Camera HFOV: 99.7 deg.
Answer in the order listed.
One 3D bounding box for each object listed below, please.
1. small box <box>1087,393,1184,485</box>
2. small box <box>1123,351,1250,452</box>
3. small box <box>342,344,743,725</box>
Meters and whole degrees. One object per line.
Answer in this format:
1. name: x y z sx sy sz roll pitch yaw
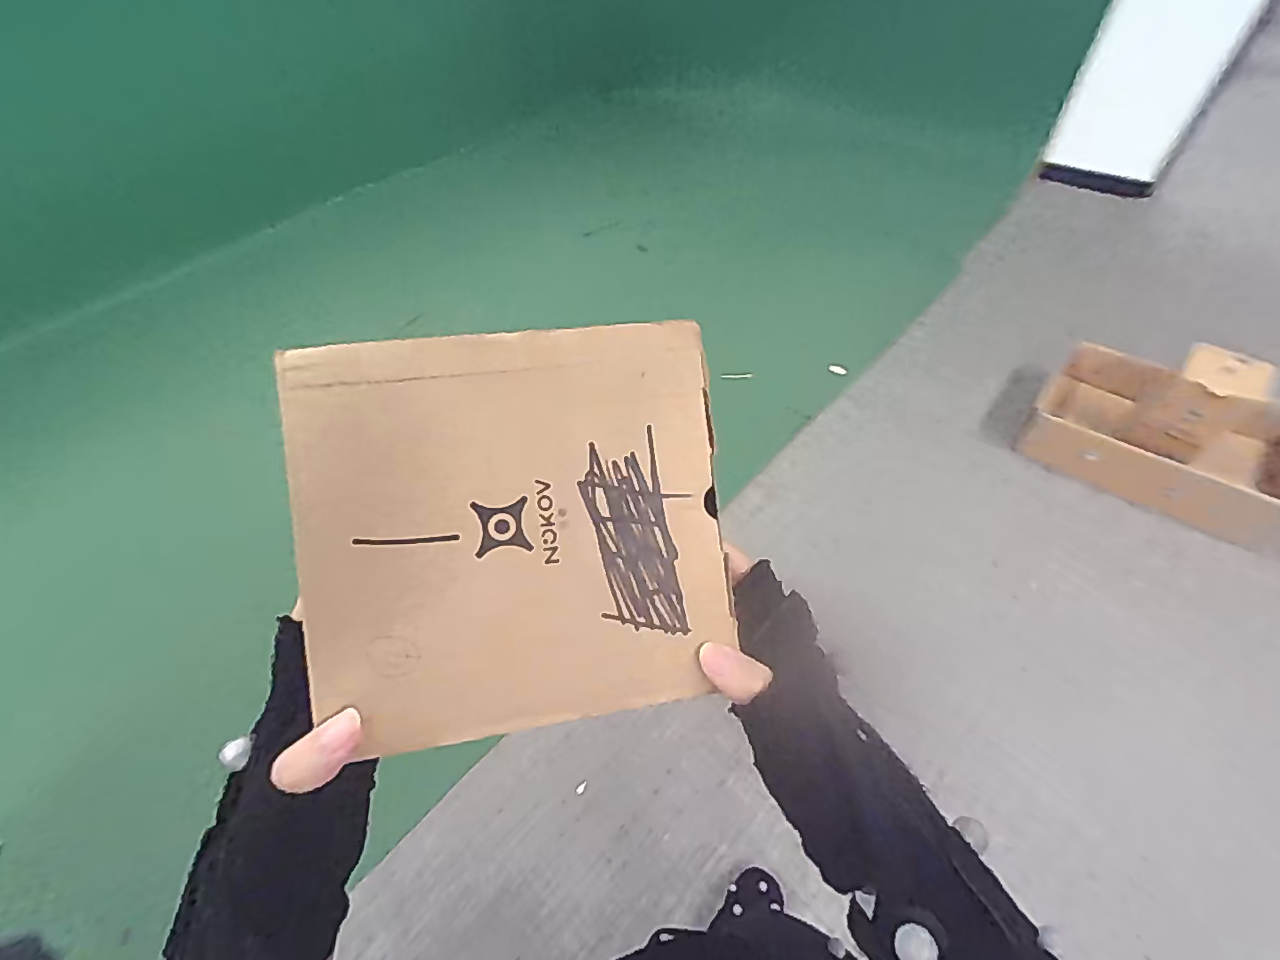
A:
1. small box: 1.466 -0.116 1.587 0.168 0.176 0.179 33 60 26
2. small box: 1.455 -0.208 1.452 0.168 0.176 0.179 35 63 27
3. small box: -0.054 0.023 0.329 0.179 0.176 0.168 -5 87 -10
